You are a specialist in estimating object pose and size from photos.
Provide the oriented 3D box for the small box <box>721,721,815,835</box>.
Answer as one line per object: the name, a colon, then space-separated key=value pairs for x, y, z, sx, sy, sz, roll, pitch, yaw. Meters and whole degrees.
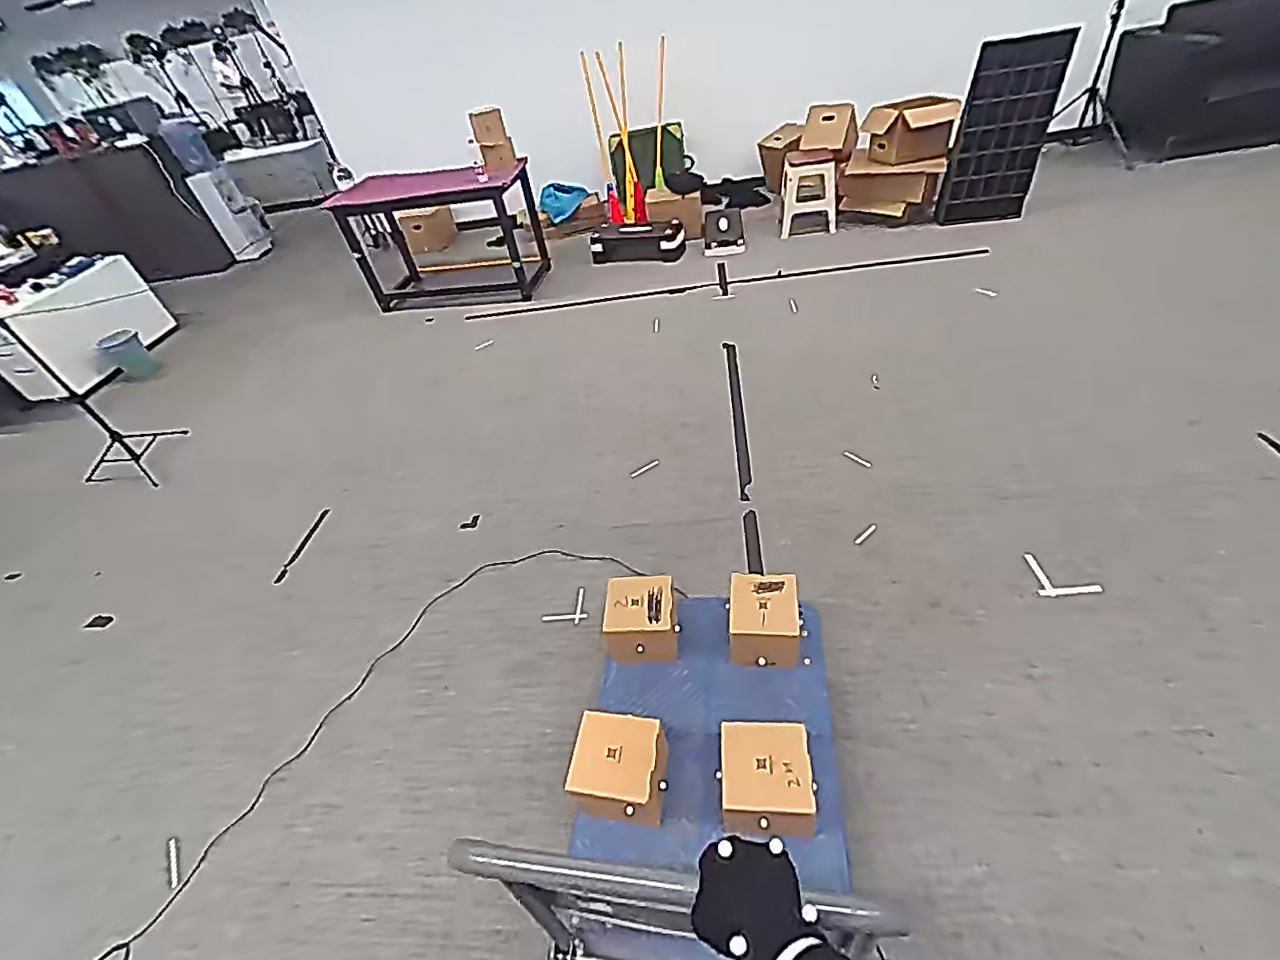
small box: x=0.263 y=0.621 z=1.126 sx=0.179 sy=0.176 sz=0.168 roll=-3 pitch=43 yaw=10

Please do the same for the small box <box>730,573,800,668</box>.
small box: x=0.320 y=0.360 z=1.392 sx=0.168 sy=0.176 sz=0.179 roll=-1 pitch=45 yaw=13

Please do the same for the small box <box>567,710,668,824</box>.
small box: x=-0.041 y=0.630 z=1.186 sx=0.179 sy=0.176 sz=0.168 roll=2 pitch=43 yaw=12
